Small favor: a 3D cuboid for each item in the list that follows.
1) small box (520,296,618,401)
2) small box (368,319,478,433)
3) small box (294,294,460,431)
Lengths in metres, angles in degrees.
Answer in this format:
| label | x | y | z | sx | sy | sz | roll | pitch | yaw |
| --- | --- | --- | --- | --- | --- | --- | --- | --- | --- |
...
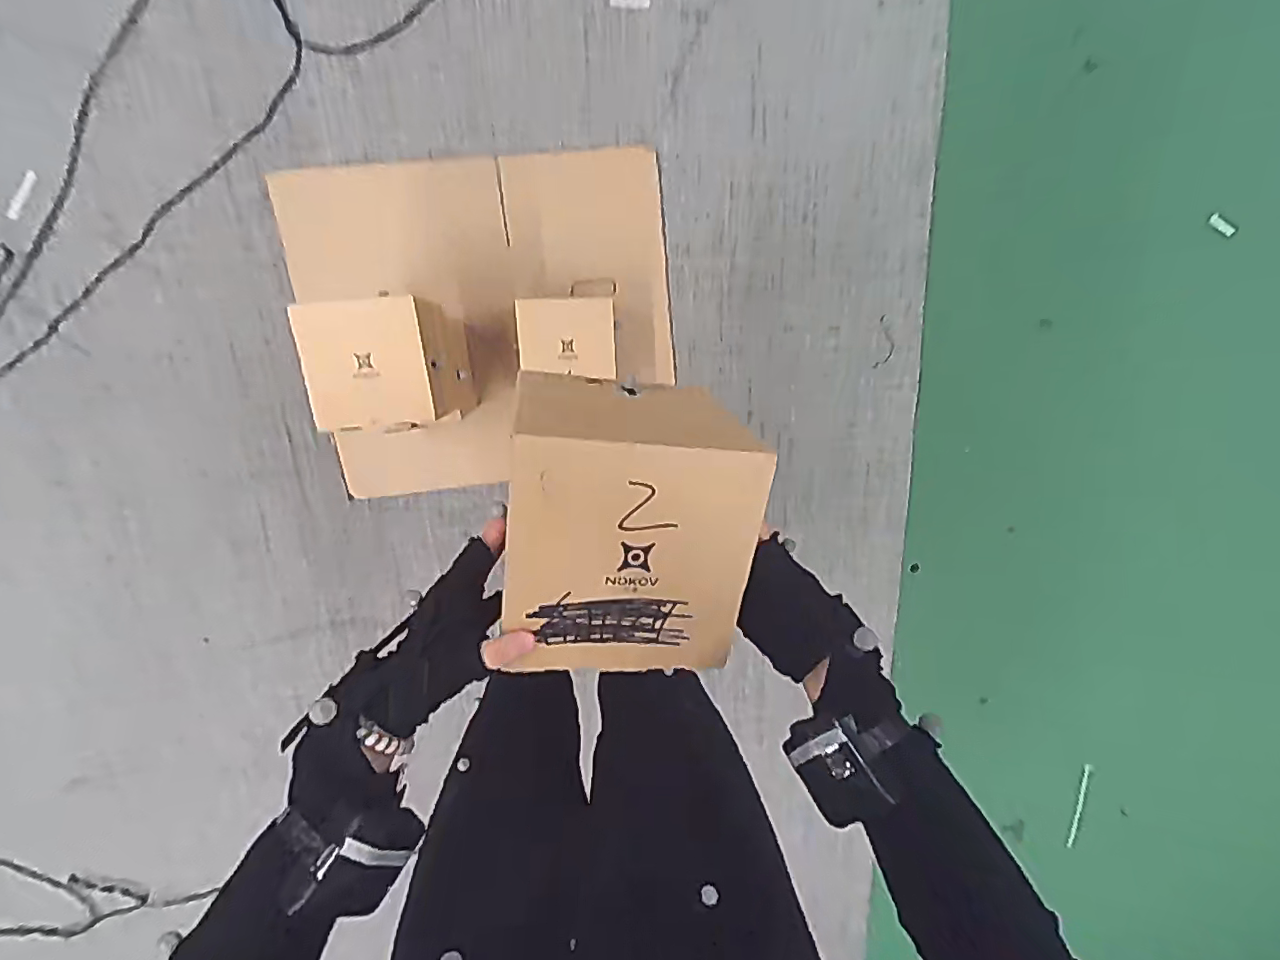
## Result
| label | x | y | z | sx | sy | sz | roll | pitch | yaw |
| --- | --- | --- | --- | --- | --- | --- | --- | --- | --- |
| small box | -0.130 | -0.246 | 1.006 | 0.168 | 0.176 | 0.179 | -3 | 107 | -5 |
| small box | -0.404 | -0.195 | 0.984 | 0.168 | 0.176 | 0.179 | -9 | 106 | -4 |
| small box | -0.383 | -0.180 | 0.821 | 0.168 | 0.176 | 0.179 | -7 | 106 | -5 |
